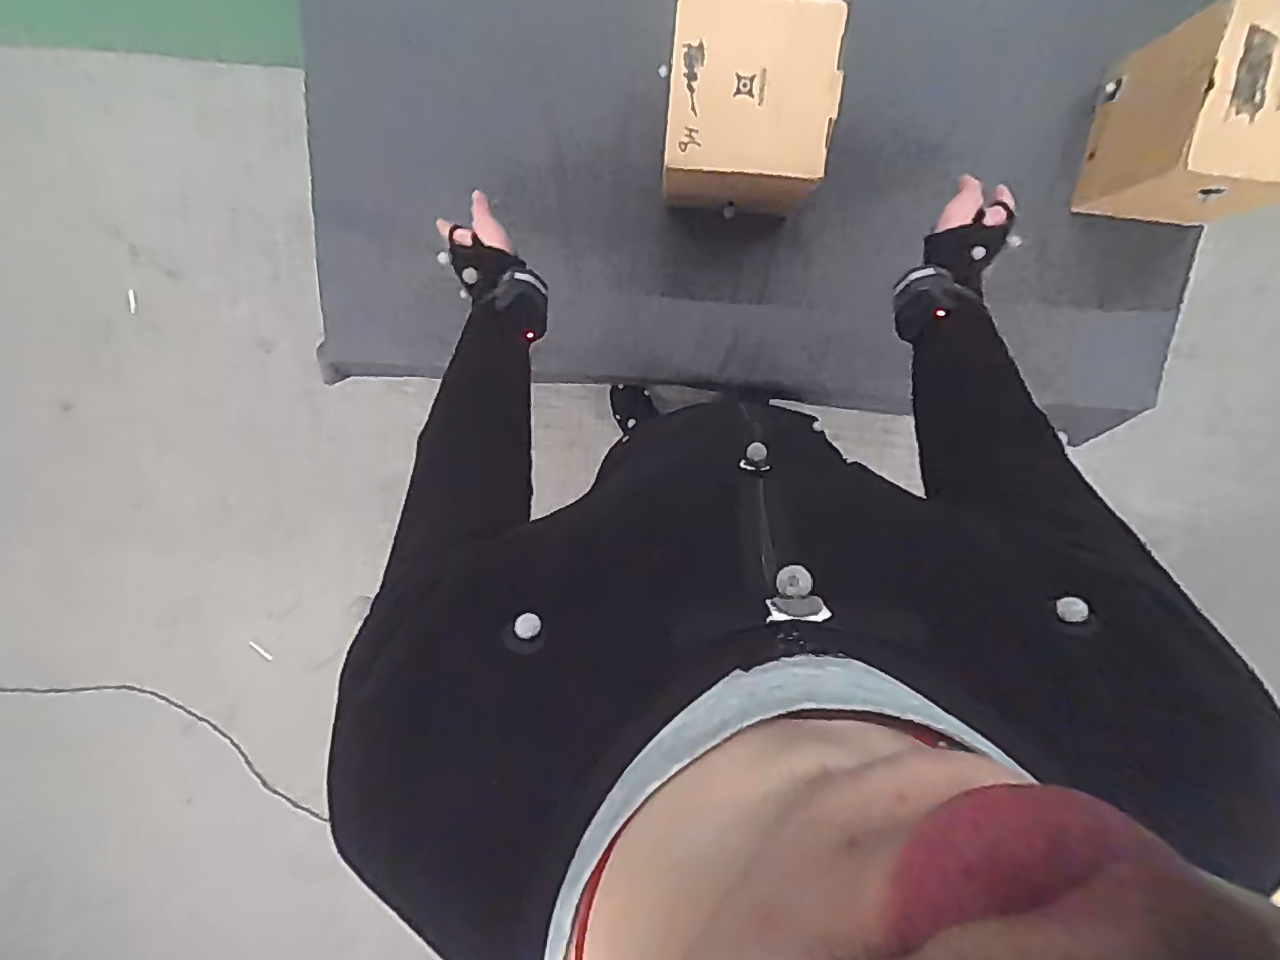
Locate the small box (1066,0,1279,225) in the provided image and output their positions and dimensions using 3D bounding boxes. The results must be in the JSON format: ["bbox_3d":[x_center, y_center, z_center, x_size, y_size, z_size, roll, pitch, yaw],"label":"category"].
[{"bbox_3d":[0.660,-0.412,0.635,0.179,0.176,0.168,6,103,-2],"label":"small box"}]

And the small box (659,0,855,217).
[{"bbox_3d":[0.120,-0.419,0.632,0.179,0.176,0.168,4,103,-2],"label":"small box"}]
